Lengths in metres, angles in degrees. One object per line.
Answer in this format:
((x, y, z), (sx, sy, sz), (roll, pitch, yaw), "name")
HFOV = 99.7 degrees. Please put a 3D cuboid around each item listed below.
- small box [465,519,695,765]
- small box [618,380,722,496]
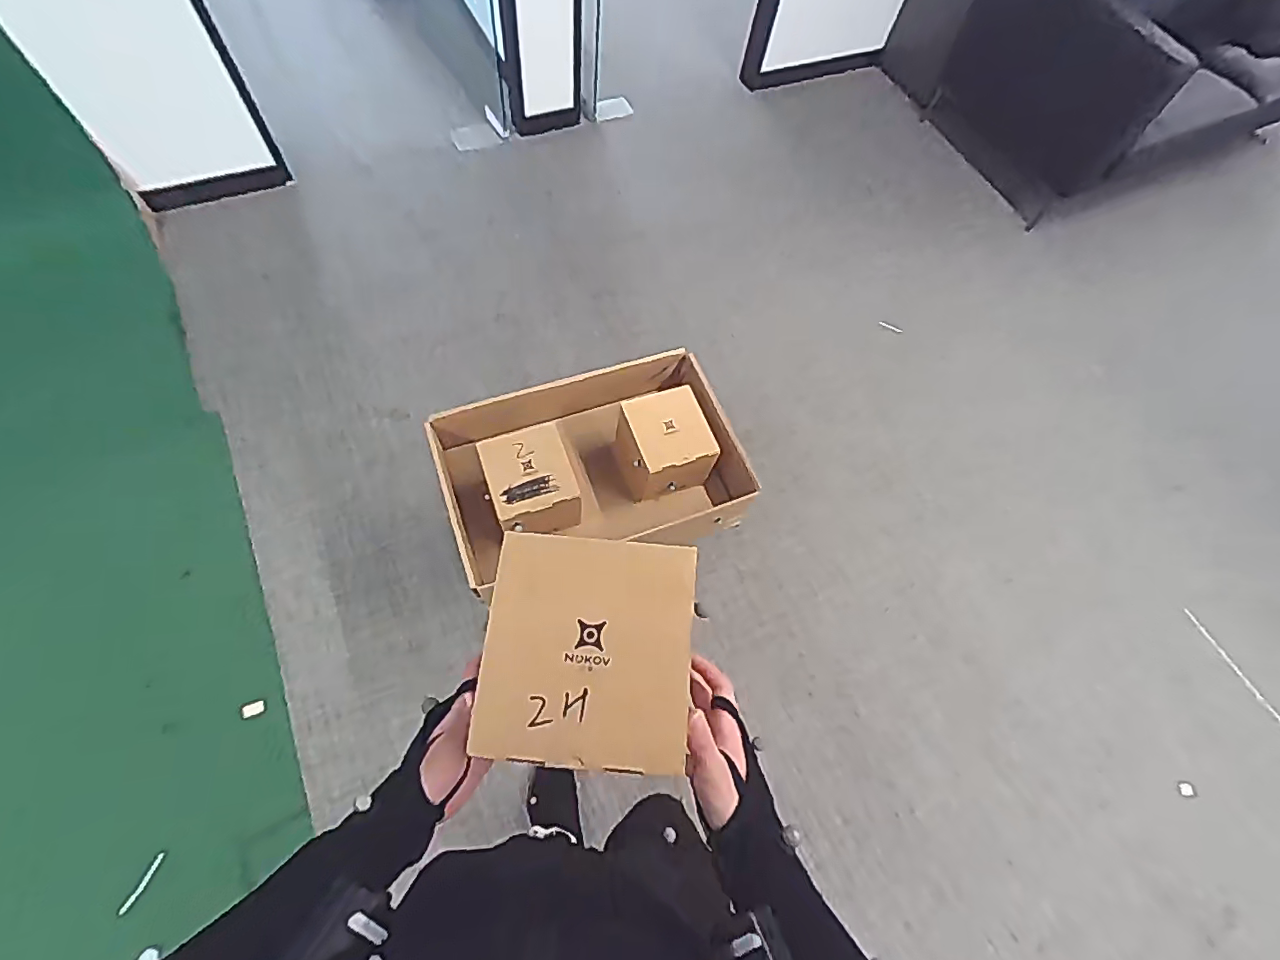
((-0.042, 0.148, 0.504), (0.168, 0.176, 0.179), (4, 71, 3), "small box")
((0.057, -0.090, 1.208), (0.168, 0.176, 0.179), (-18, 70, -14), "small box")
